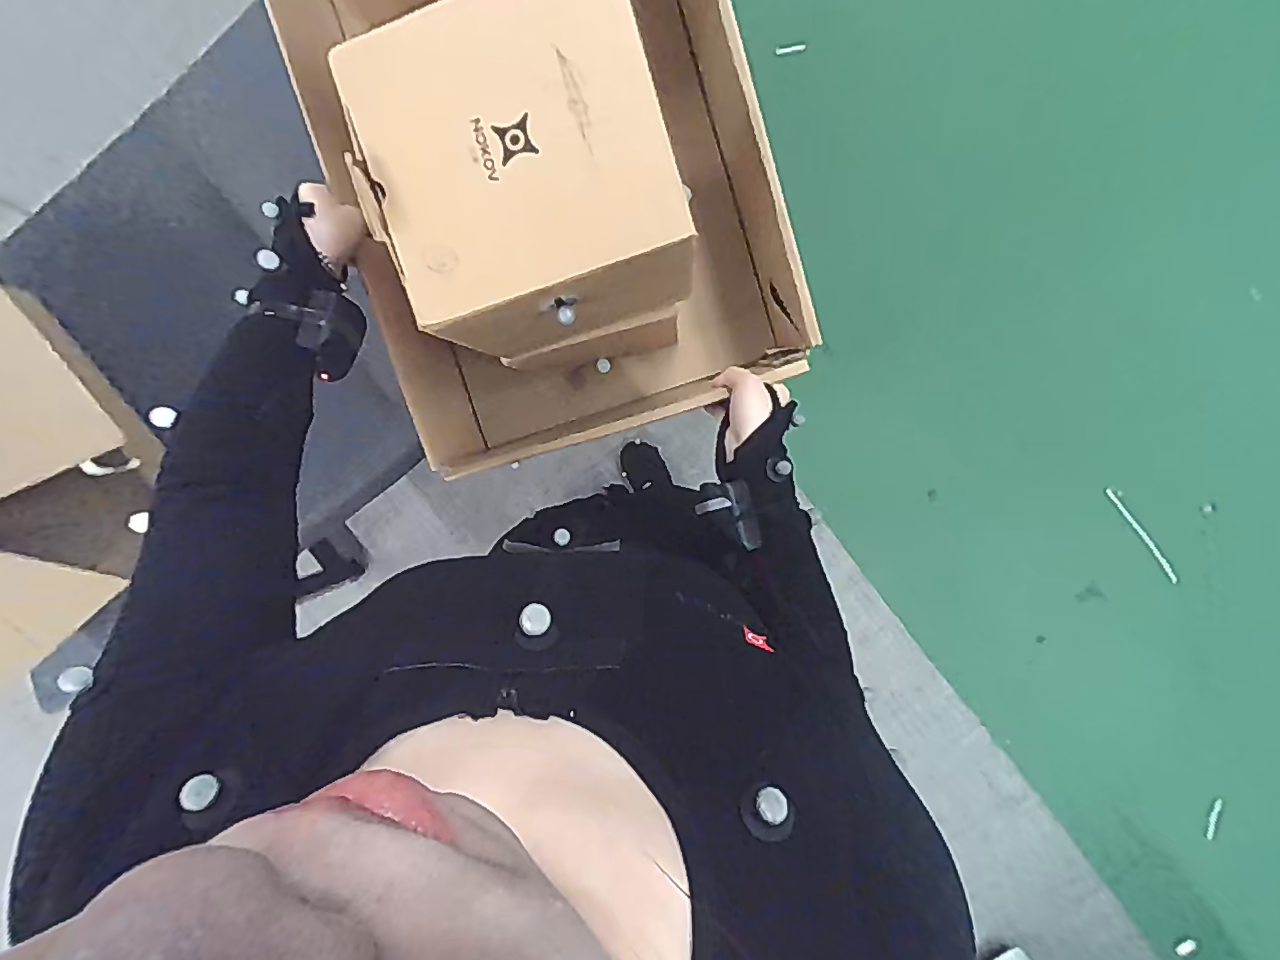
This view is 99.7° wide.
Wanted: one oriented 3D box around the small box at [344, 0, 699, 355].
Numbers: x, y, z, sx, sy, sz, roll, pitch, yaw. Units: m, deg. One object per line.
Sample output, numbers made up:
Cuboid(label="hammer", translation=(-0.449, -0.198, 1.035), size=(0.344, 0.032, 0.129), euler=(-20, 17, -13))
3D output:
Cuboid(label="small box", translation=(-0.063, -0.199, 0.392), size=(0.179, 0.176, 0.168), euler=(-17, 96, 6))
